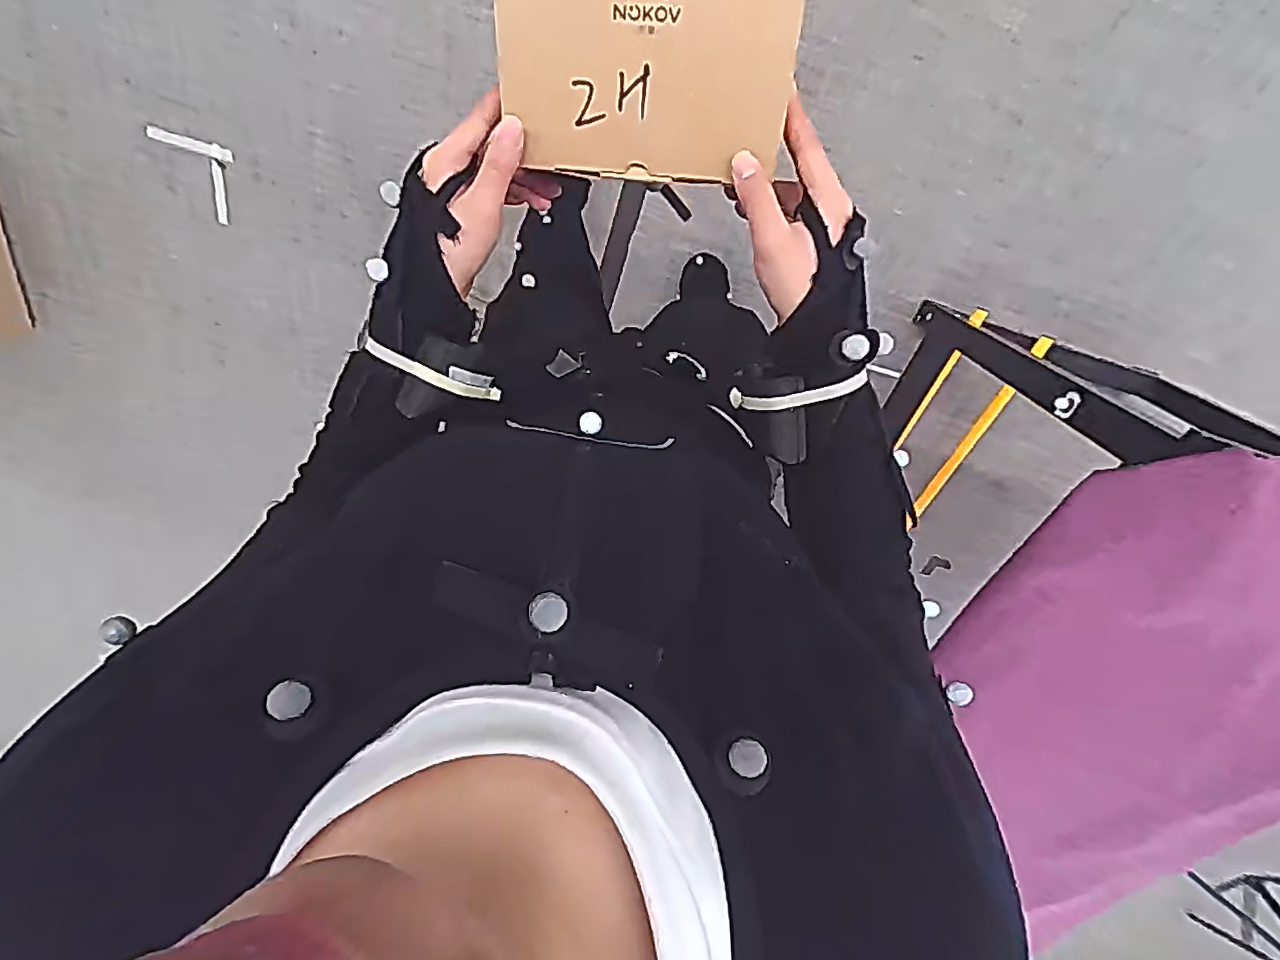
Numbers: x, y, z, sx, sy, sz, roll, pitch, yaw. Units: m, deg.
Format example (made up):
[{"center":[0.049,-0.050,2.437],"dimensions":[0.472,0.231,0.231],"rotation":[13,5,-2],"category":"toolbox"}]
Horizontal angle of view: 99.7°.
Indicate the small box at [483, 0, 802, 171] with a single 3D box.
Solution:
[{"center":[0.010,-0.302,0.332],"dimensions":[0.168,0.176,0.179],"rotation":[8,124,4],"category":"small box"}]
